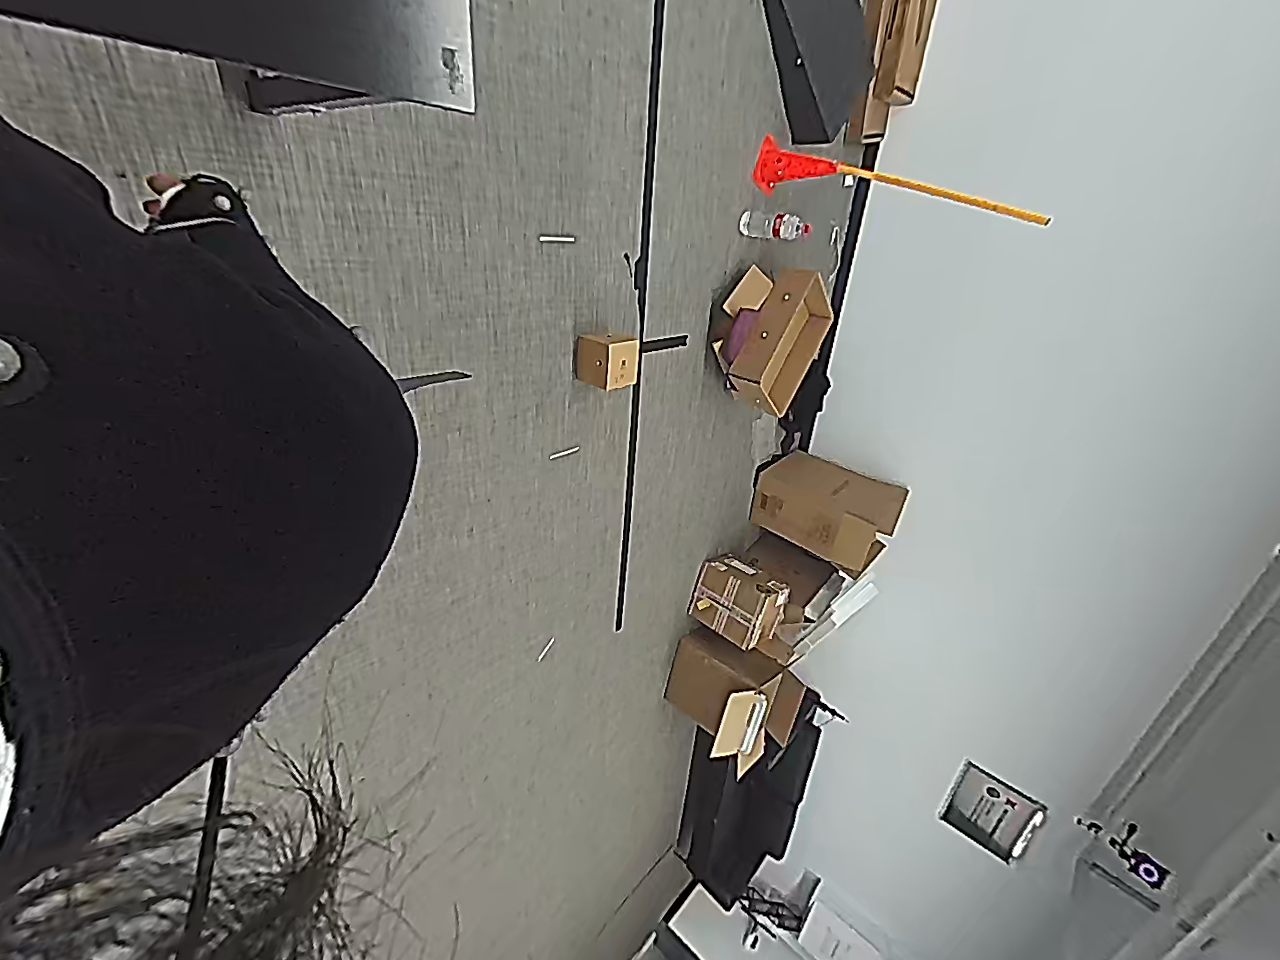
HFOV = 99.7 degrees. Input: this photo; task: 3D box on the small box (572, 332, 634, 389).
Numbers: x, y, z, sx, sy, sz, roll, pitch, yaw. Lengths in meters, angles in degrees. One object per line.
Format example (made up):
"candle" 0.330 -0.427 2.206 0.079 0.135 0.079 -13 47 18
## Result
"small box" -0.145 -0.464 2.071 0.168 0.176 0.179 -23 128 -43
